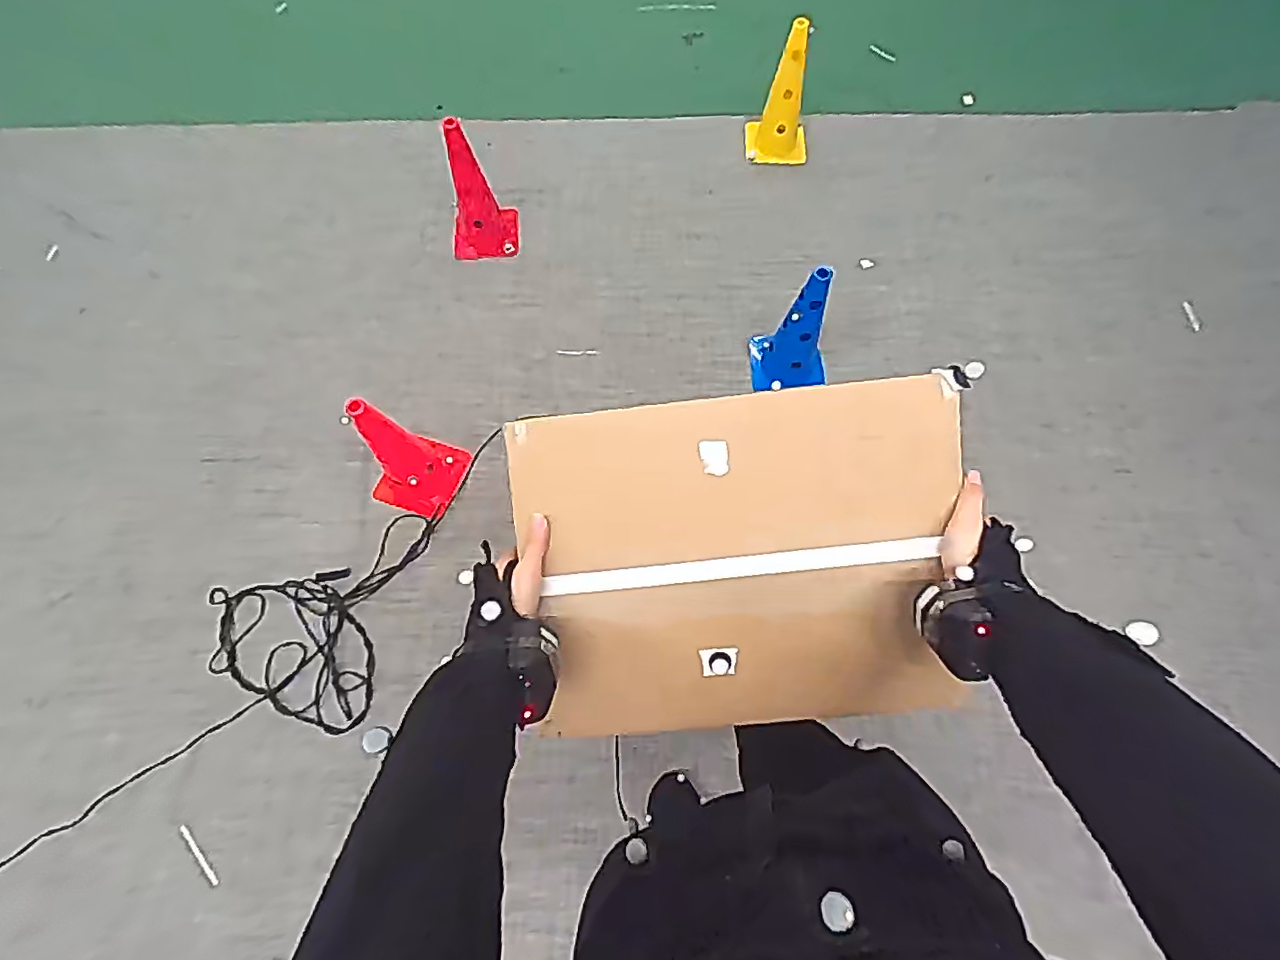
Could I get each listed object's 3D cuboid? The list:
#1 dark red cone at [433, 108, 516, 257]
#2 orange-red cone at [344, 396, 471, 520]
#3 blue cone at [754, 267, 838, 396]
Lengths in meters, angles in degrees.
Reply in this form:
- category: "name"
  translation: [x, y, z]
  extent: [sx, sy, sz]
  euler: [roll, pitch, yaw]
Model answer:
- category: "dark red cone"
  translation: [-0.495, -0.850, 1.550]
  extent: [0.202, 0.394, 0.201]
  euler: [-7, 64, -1]
- category: "orange-red cone"
  translation: [-0.568, -0.077, 1.239]
  extent: [0.199, 0.360, 0.198]
  euler: [18, 67, 11]
- category: "blue cone"
  translation: [0.409, -0.379, 1.351]
  extent: [0.192, 0.380, 0.193]
  euler: [1, 67, 2]
